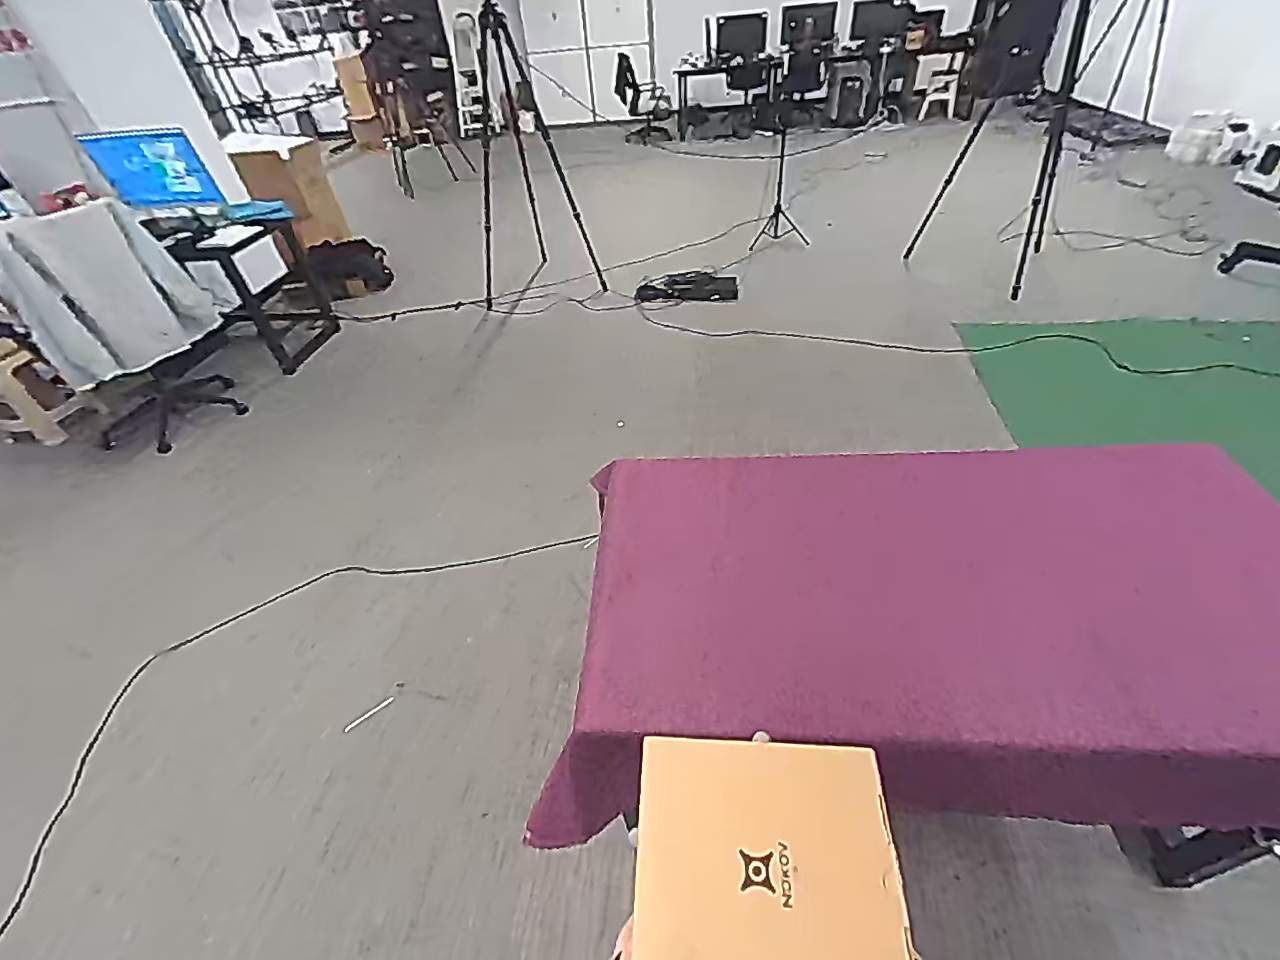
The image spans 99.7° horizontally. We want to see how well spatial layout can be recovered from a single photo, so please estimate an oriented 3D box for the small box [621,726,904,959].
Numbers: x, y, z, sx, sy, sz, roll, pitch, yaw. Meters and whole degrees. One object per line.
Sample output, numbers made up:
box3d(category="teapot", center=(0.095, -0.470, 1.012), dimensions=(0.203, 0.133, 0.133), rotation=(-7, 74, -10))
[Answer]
box3d(category="small box", center=(0.088, 0.311, 0.429), dimensions=(0.179, 0.176, 0.168), rotation=(0, 49, 7))
